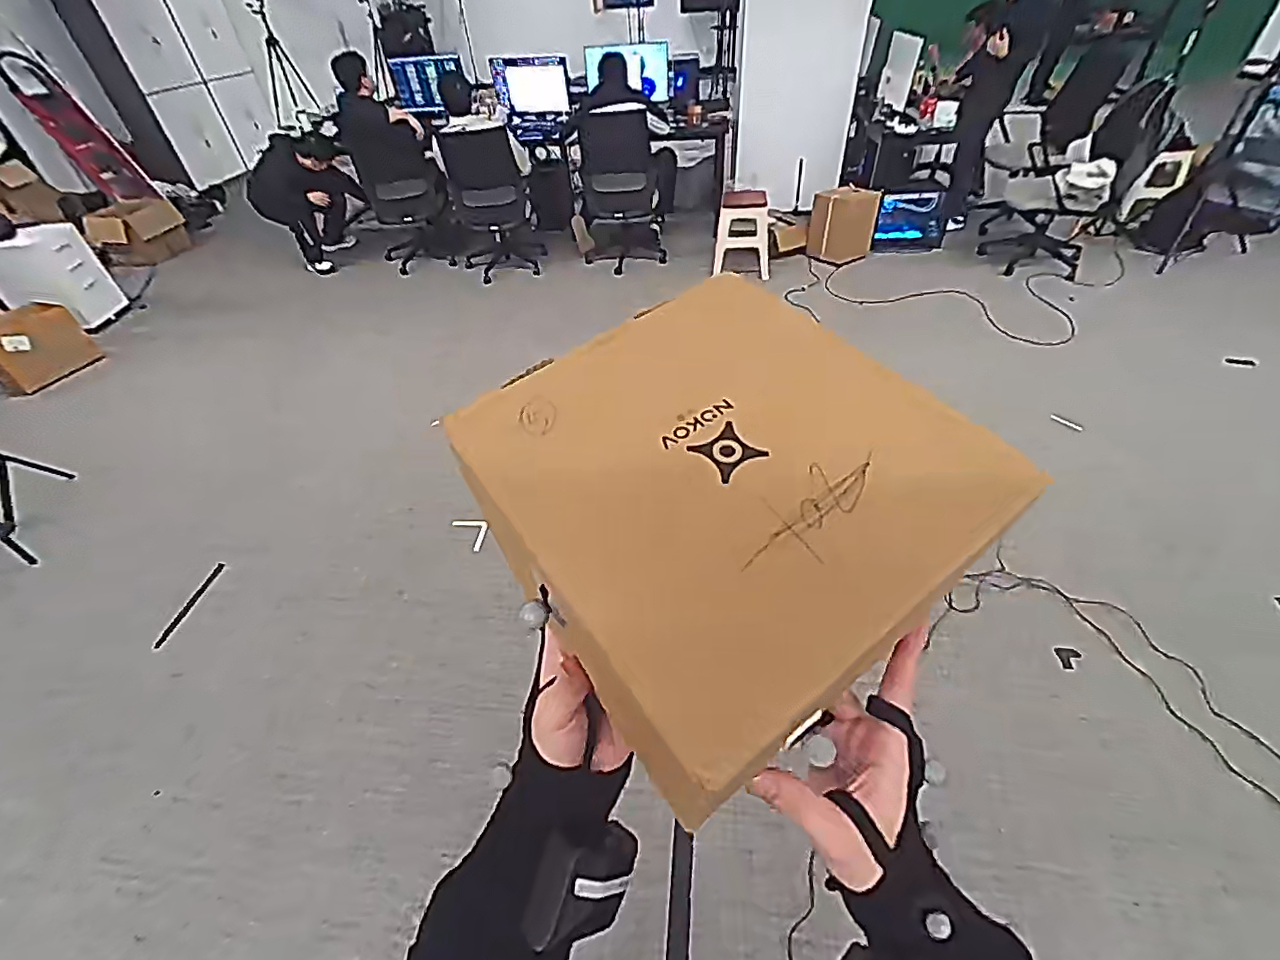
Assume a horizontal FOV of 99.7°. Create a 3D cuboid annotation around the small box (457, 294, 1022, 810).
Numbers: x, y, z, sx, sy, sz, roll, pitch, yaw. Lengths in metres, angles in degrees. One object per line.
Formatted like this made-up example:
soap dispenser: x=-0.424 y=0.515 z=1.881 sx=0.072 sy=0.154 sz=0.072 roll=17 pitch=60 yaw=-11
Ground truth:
small box: x=0.036 y=0.041 z=0.287 sx=0.168 sy=0.176 sz=0.179 roll=-33 pitch=59 yaw=-18
